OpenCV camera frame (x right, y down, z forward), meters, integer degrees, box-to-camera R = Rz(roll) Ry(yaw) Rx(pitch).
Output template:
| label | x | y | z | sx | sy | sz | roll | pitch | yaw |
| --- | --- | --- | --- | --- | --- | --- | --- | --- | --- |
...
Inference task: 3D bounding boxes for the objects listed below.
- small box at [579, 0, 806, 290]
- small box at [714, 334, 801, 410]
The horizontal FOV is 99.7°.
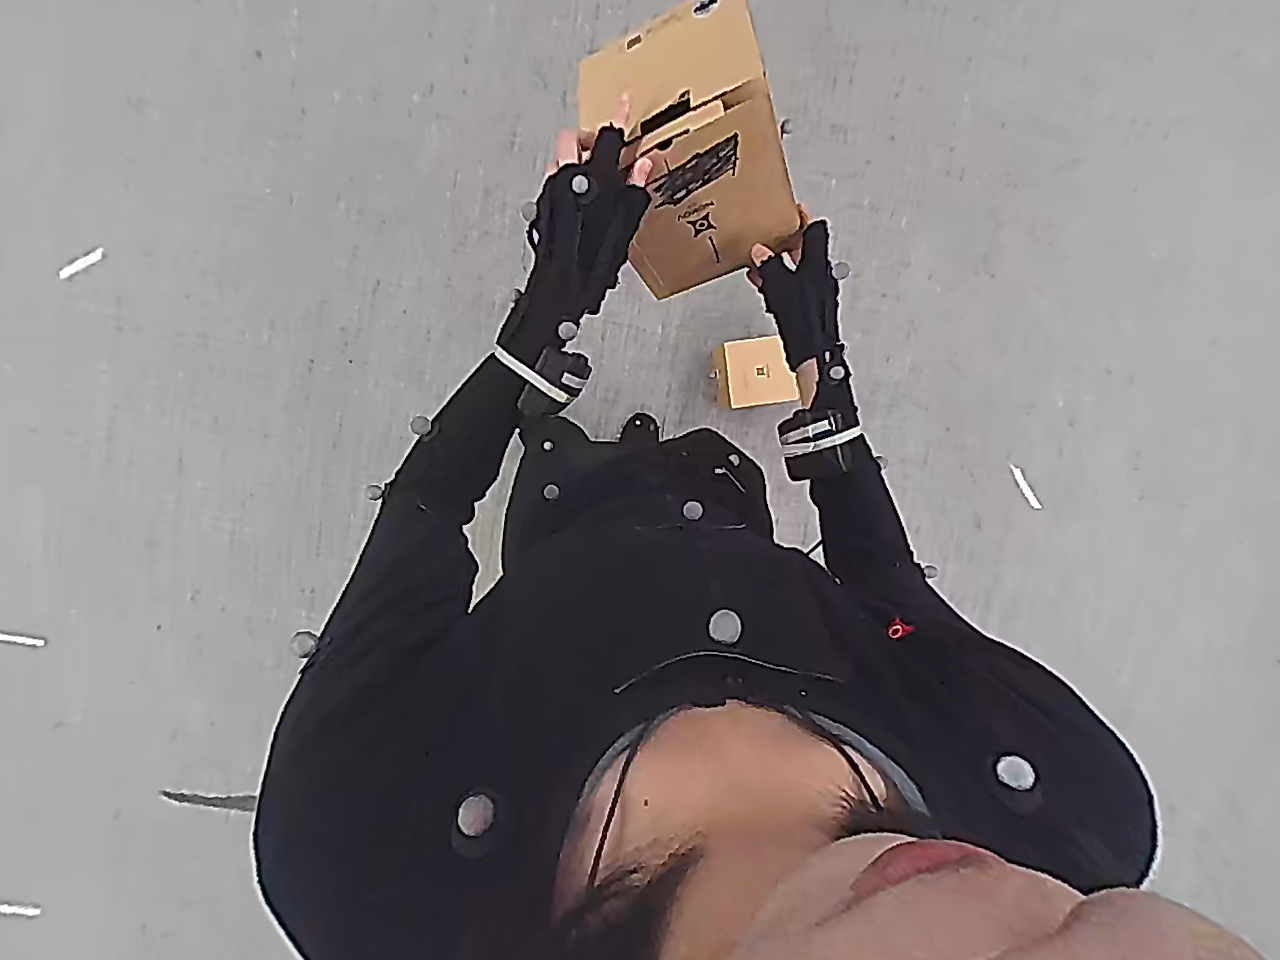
| label | x | y | z | sx | sy | sz | roll | pitch | yaw |
| --- | --- | --- | --- | --- | --- | --- | --- | --- | --- |
| small box | 0.051 | -0.332 | 0.531 | 0.168 | 0.179 | 0.176 | -15 | 61 | 22 |
| small box | 0.301 | -0.276 | 1.407 | 0.179 | 0.176 | 0.168 | -9 | 96 | -2 |
